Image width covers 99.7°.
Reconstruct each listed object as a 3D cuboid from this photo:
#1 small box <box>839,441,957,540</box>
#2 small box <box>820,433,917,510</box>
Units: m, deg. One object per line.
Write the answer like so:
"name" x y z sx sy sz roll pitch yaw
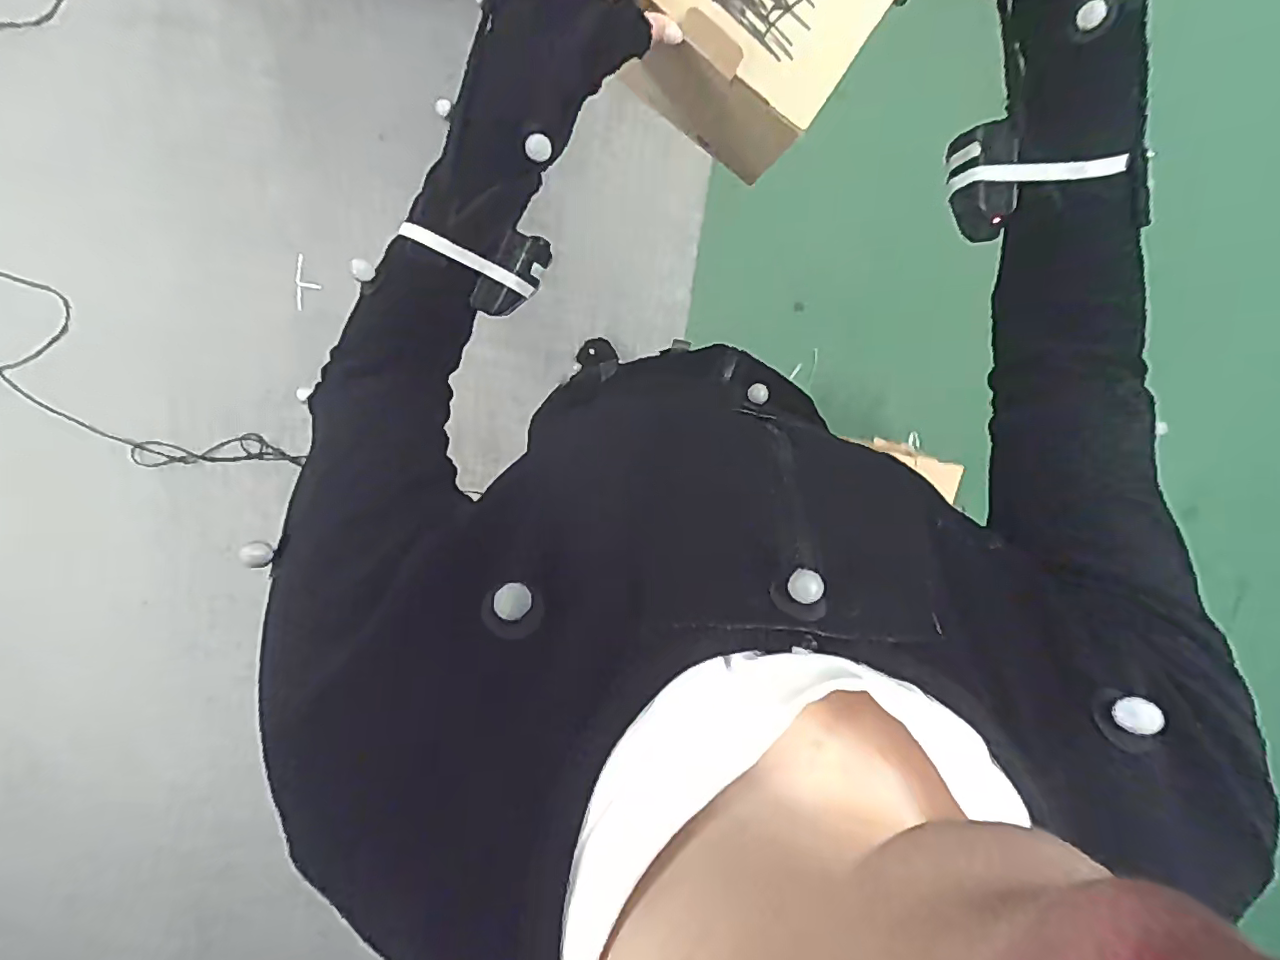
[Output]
"small box" 0.577 0.018 1.237 0.168 0.176 0.179 11 101 -3
"small box" 0.582 -0.014 1.397 0.168 0.176 0.179 10 101 -3
